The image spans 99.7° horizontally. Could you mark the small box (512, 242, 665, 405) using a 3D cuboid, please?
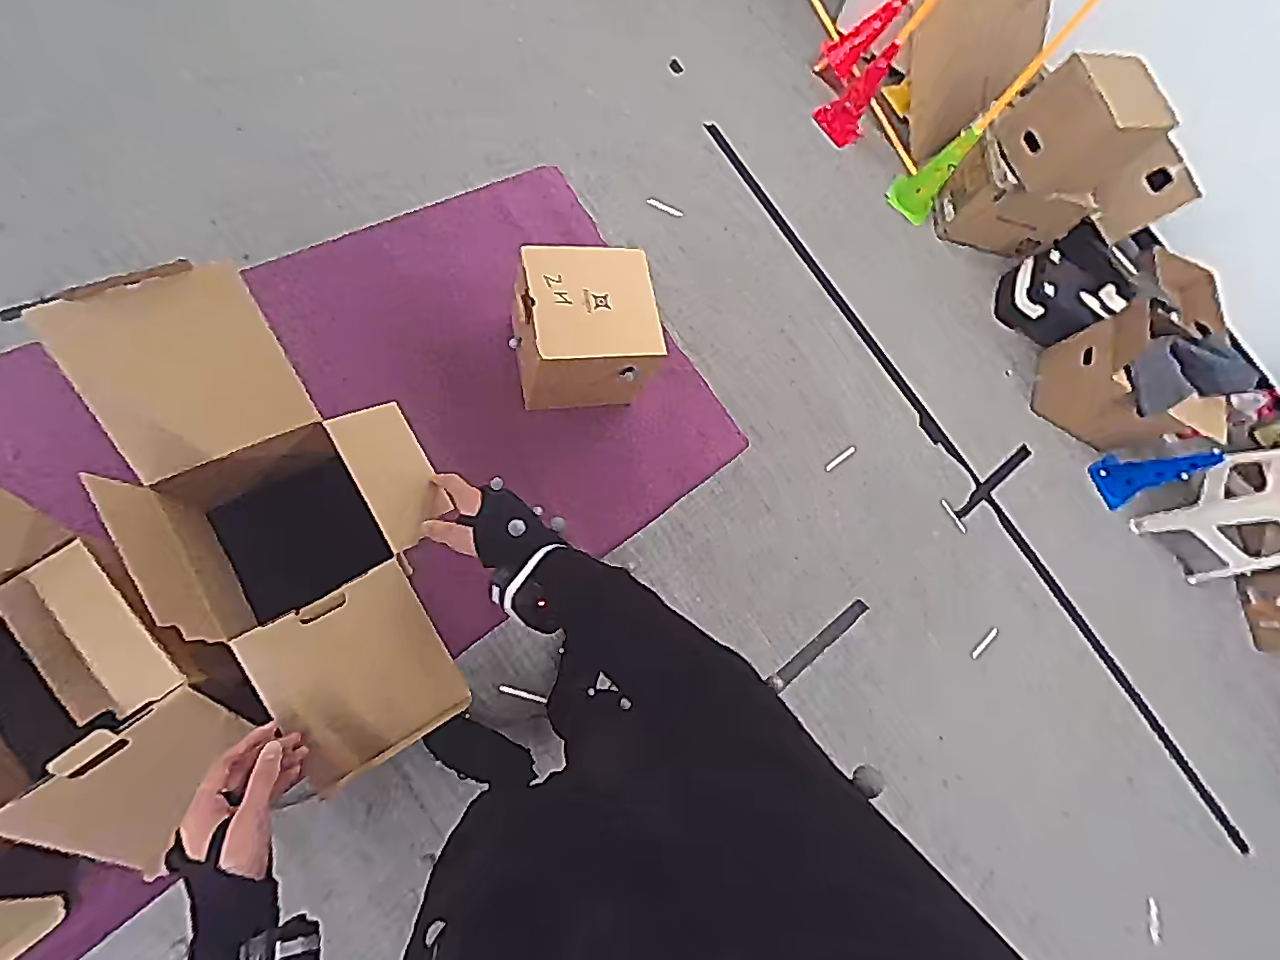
[{"bbox_3d":[-0.083,-0.218,0.787,0.179,0.176,0.168,-6,77,-19],"label":"small box"}]
